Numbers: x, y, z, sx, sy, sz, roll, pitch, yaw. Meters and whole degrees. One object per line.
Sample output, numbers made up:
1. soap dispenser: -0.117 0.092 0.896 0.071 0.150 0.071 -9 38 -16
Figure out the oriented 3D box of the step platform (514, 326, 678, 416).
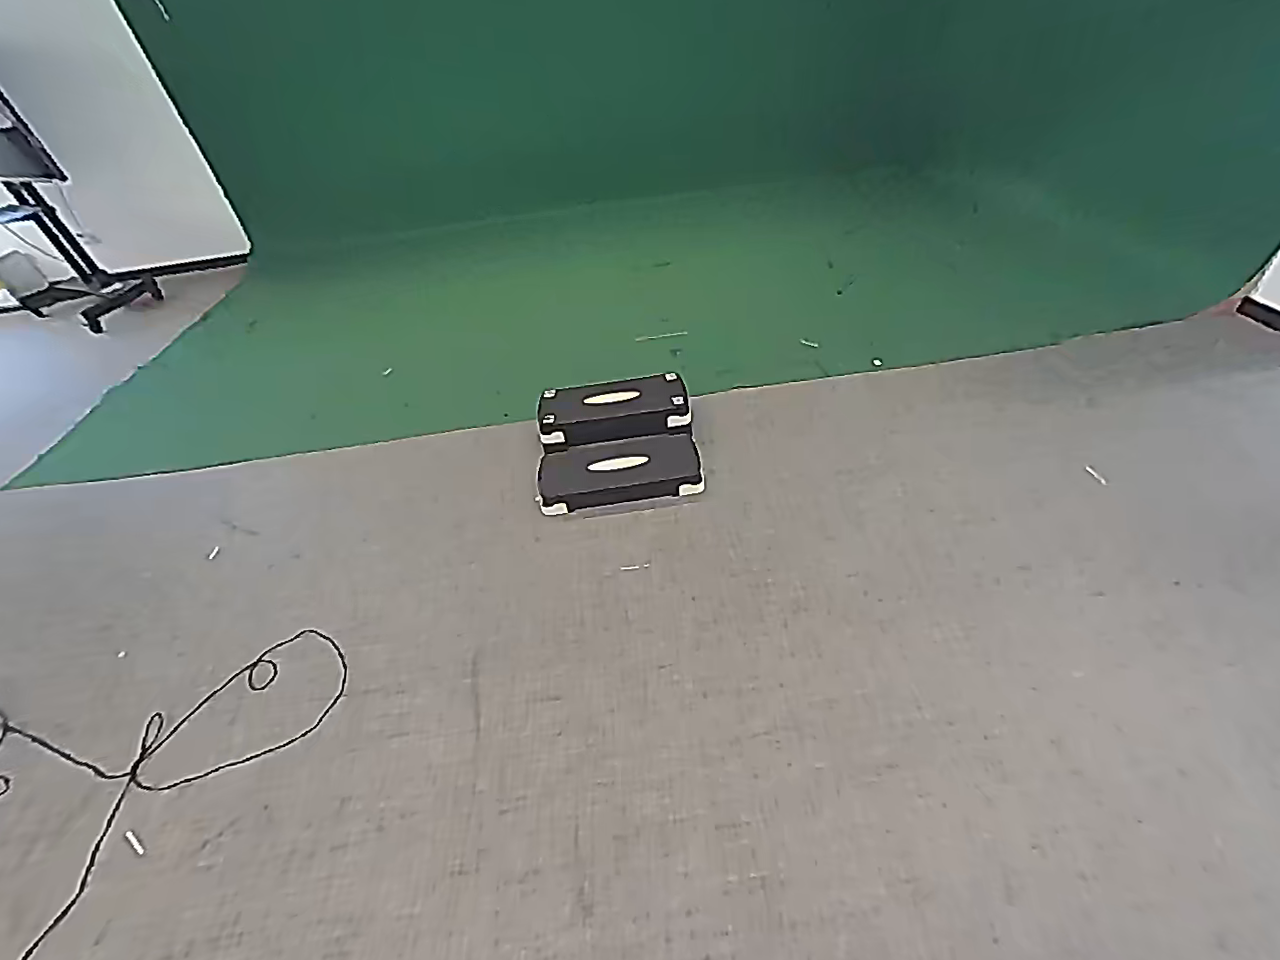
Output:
1. step platform: -0.181 -0.471 2.326 0.684 0.204 0.286 -9 43 0
